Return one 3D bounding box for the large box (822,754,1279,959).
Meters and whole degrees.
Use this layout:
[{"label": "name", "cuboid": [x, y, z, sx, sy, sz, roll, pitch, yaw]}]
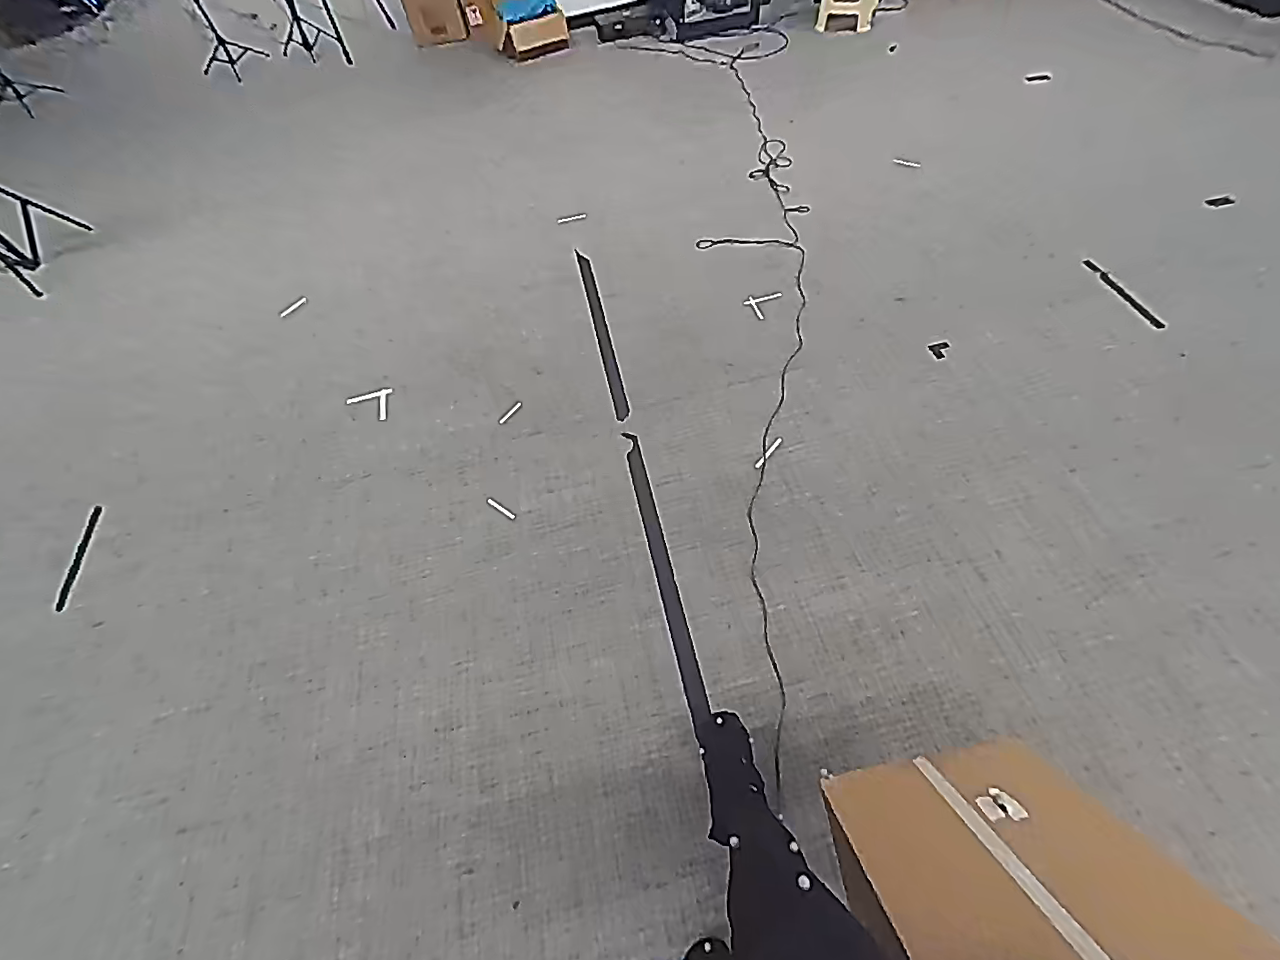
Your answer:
[{"label": "large box", "cuboid": [0.464, 0.609, 0.653, 0.320, 0.408, 0.320, -11, 90, 1]}]
